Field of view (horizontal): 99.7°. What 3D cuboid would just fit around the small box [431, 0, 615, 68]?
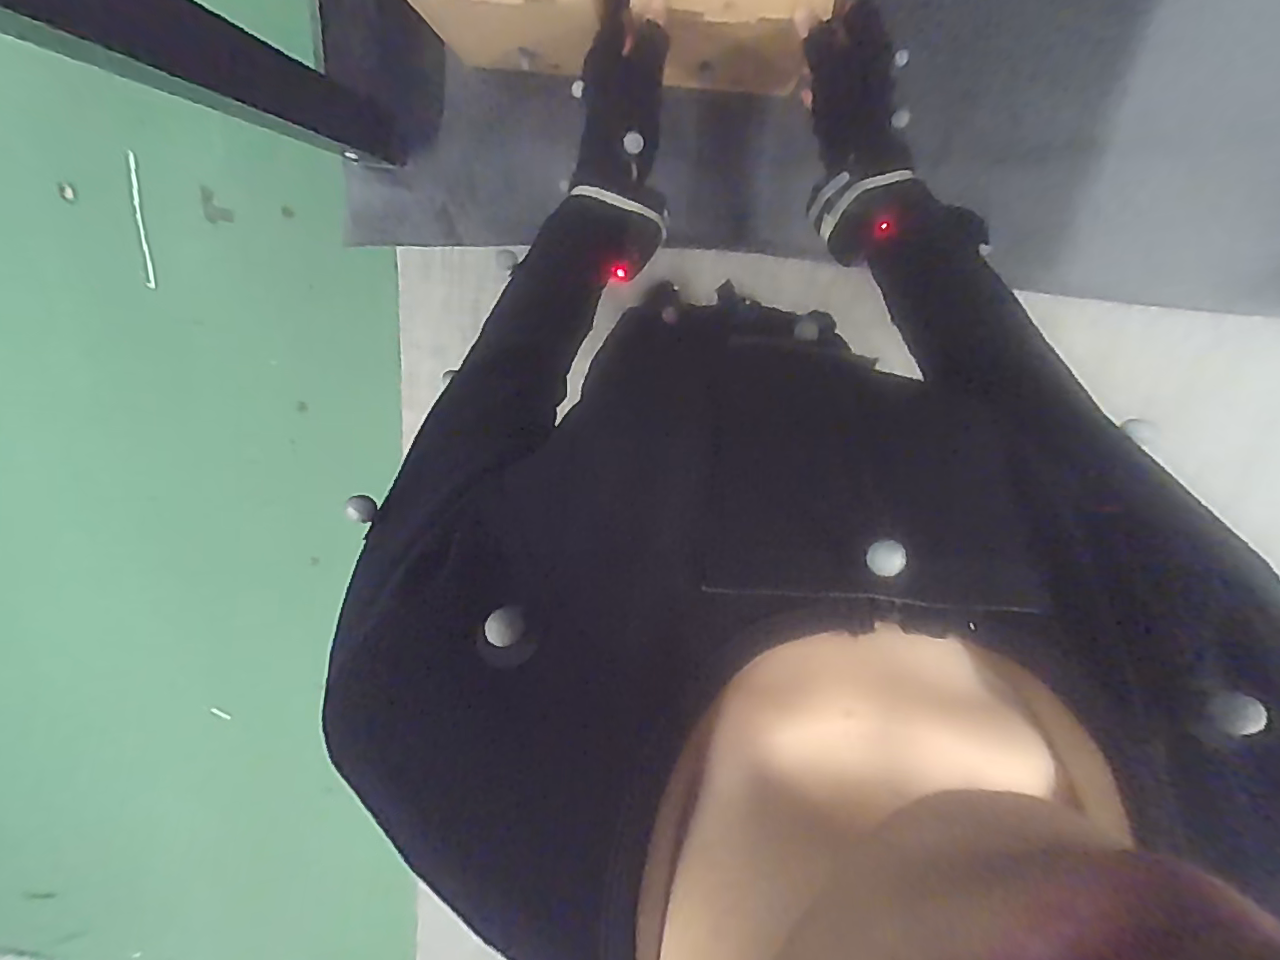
[{"bbox_3d":[-0.108,-0.507,0.479,0.168,0.176,0.179,6,110,2],"label":"small box"}]

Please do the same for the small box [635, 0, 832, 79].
[{"bbox_3d":[0.084,-0.491,0.476,0.168,0.176,0.179,6,111,2],"label":"small box"}]
